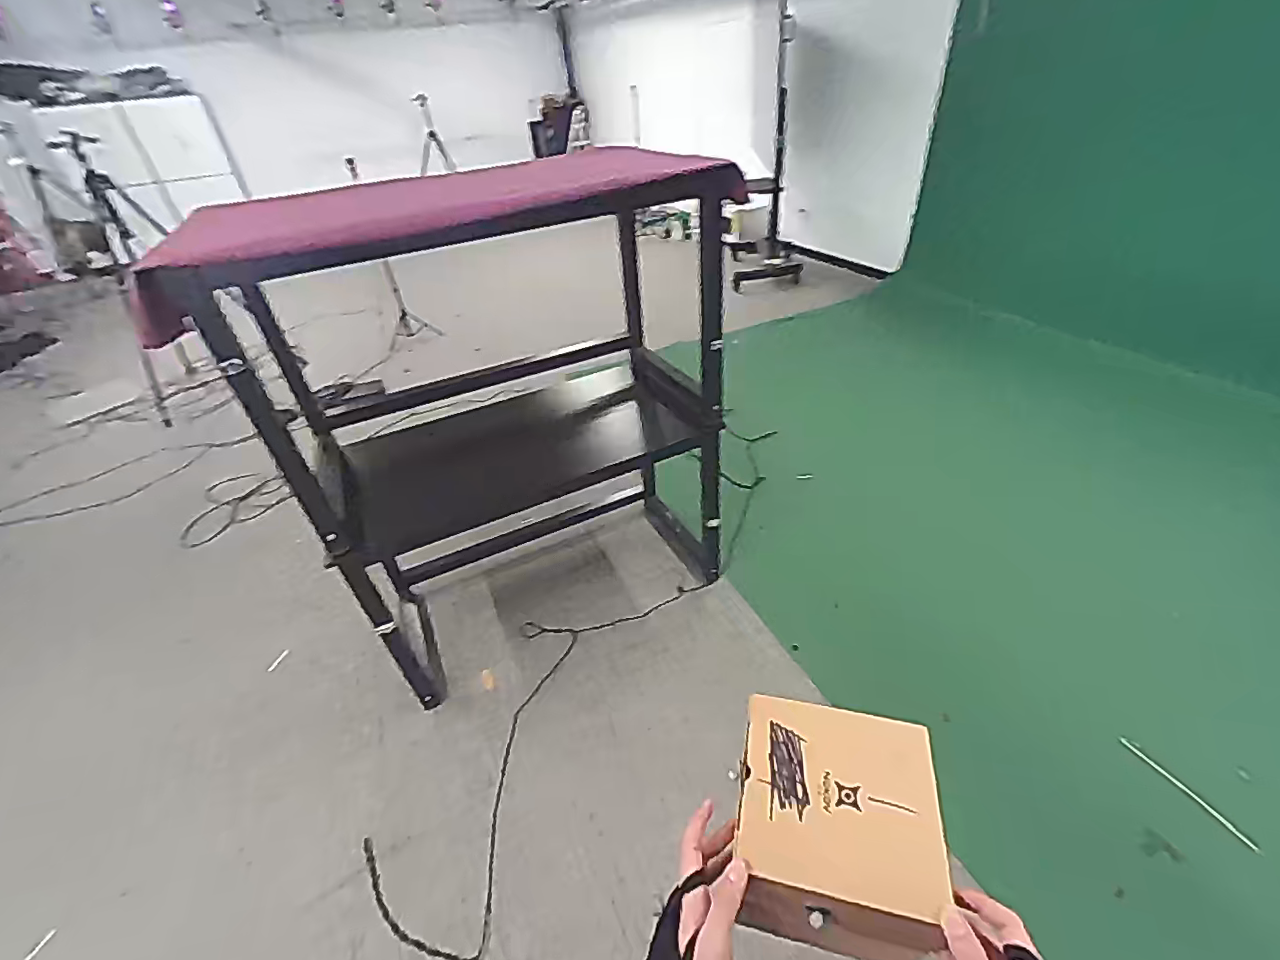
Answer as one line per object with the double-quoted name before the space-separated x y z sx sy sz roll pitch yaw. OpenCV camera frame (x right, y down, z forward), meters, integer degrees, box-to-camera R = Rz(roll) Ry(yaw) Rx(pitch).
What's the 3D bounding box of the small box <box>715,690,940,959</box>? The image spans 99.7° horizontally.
"small box" 0.174 0.345 0.545 0.179 0.176 0.168 7 40 13
